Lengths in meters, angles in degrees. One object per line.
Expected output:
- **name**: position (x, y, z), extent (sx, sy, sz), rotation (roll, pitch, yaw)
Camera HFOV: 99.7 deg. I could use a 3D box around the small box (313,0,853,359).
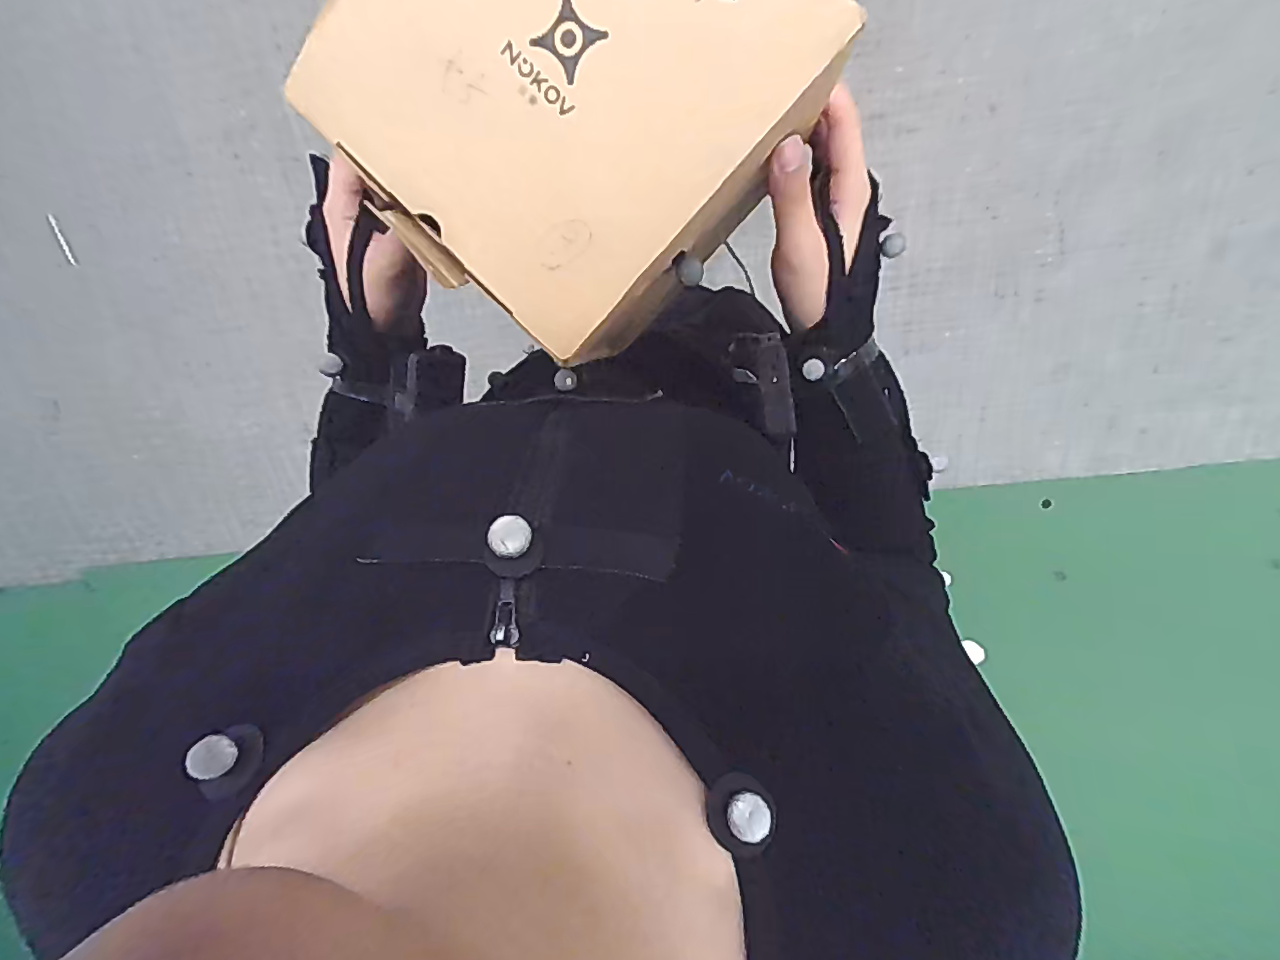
- **small box**: position (-0.020, -0.189, 0.299), extent (0.168, 0.176, 0.179), rotation (43, 106, -5)
